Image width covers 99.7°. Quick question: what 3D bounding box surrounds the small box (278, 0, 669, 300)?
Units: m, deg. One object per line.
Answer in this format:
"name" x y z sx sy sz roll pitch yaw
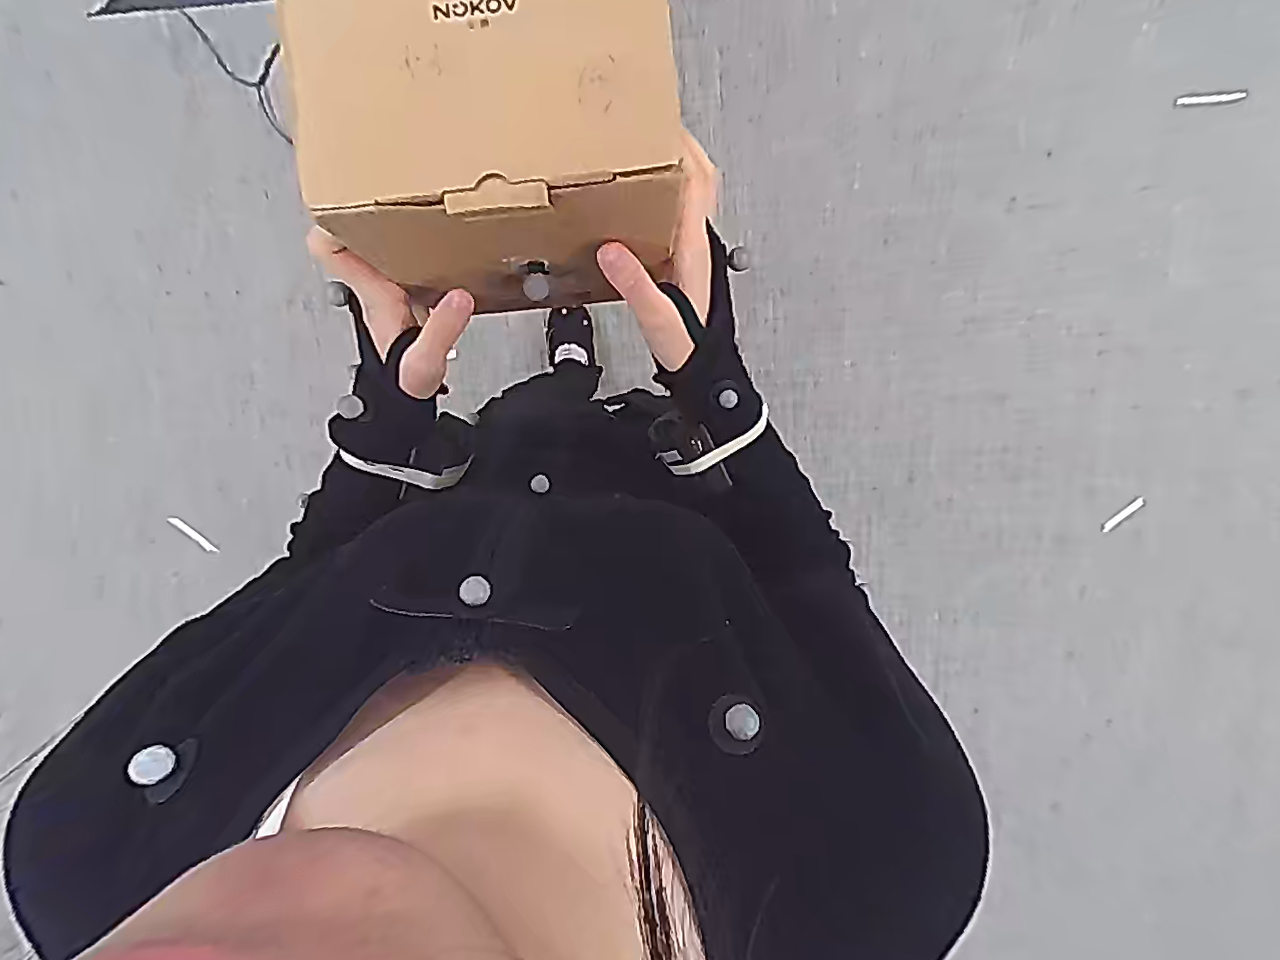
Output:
"small box" -0.073 -0.213 0.311 0.168 0.176 0.179 -6 92 0
